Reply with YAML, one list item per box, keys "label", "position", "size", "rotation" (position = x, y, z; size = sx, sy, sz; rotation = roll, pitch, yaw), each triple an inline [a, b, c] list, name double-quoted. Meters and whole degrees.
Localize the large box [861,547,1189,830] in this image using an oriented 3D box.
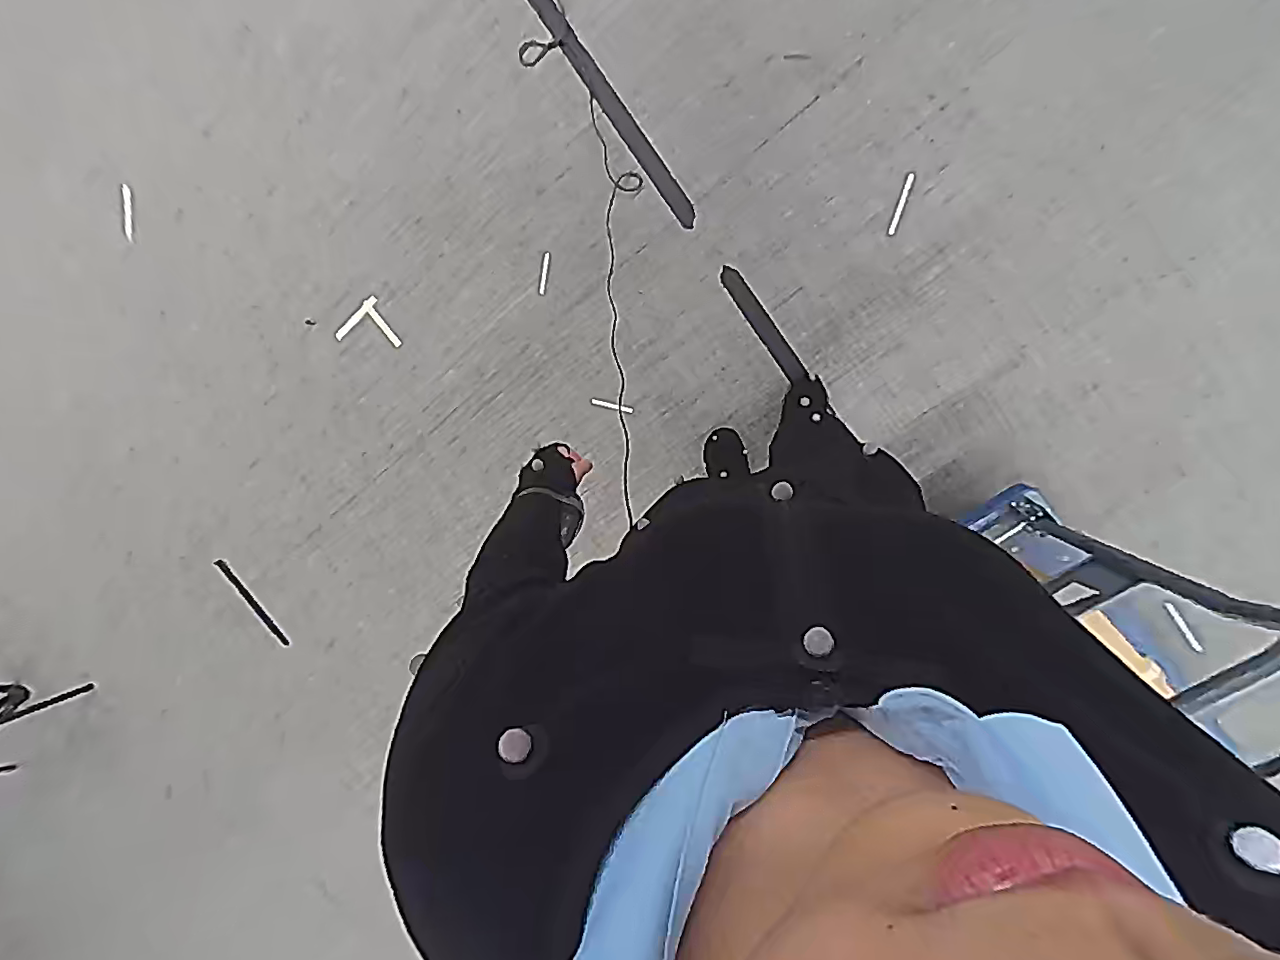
- label: "large box"
  position: [0.756, 0.414, 1.141]
  size: [0.408, 0.320, 0.320]
  rotation: [-42, 91, 15]
